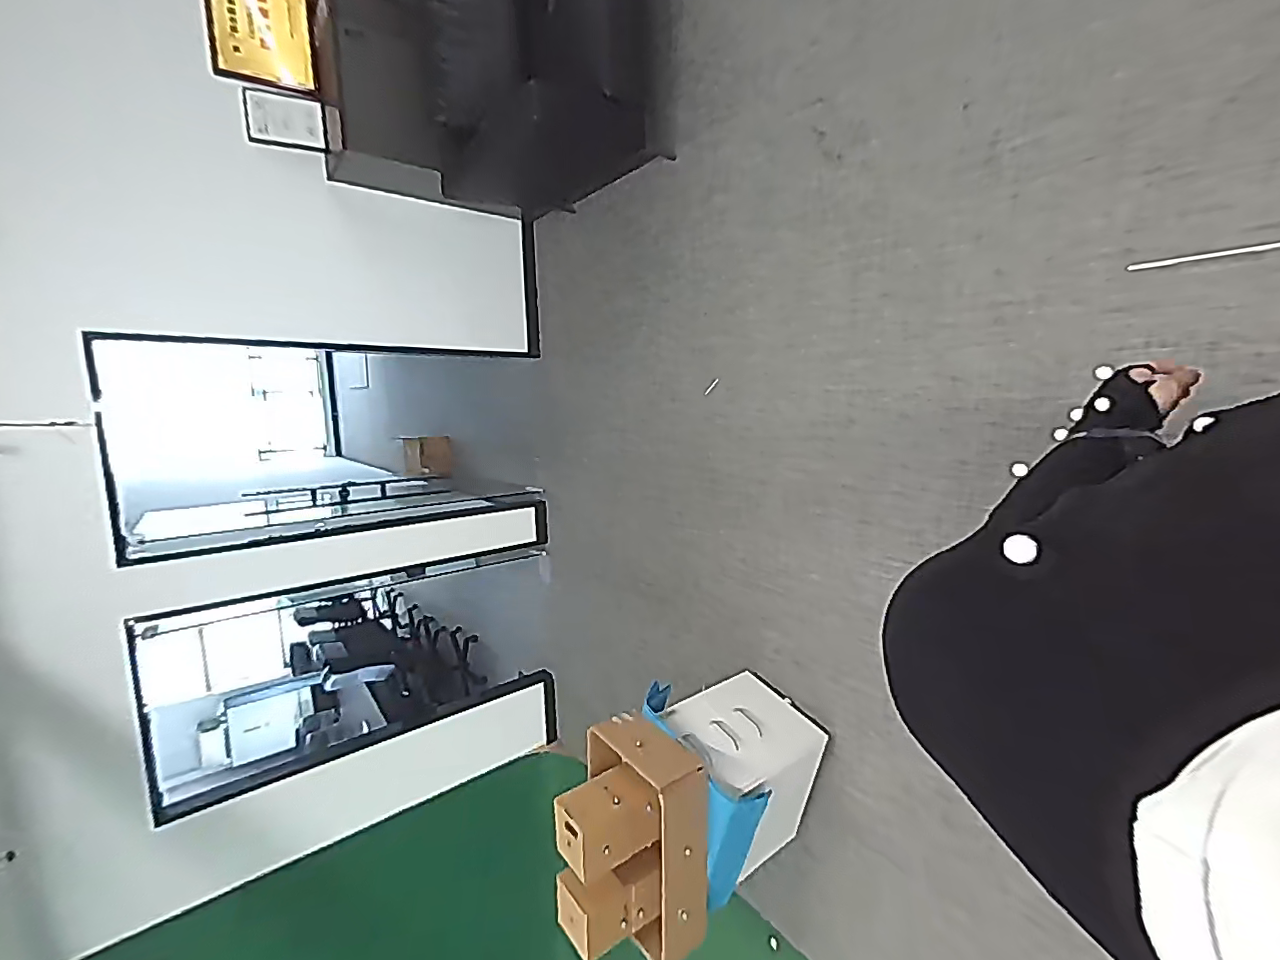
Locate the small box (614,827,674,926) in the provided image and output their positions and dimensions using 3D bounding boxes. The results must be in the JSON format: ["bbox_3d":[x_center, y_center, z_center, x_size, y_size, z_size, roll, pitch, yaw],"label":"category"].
[{"bbox_3d":[-0.010,1.268,1.749,0.179,0.176,0.168,11,104,53],"label":"small box"}]

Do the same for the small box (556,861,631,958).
[{"bbox_3d":[-0.144,1.282,1.657,0.179,0.176,0.168,11,103,52],"label":"small box"}]

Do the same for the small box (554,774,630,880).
[{"bbox_3d":[-0.142,1.021,1.613,0.168,0.176,0.179,11,105,53],"label":"small box"}]
